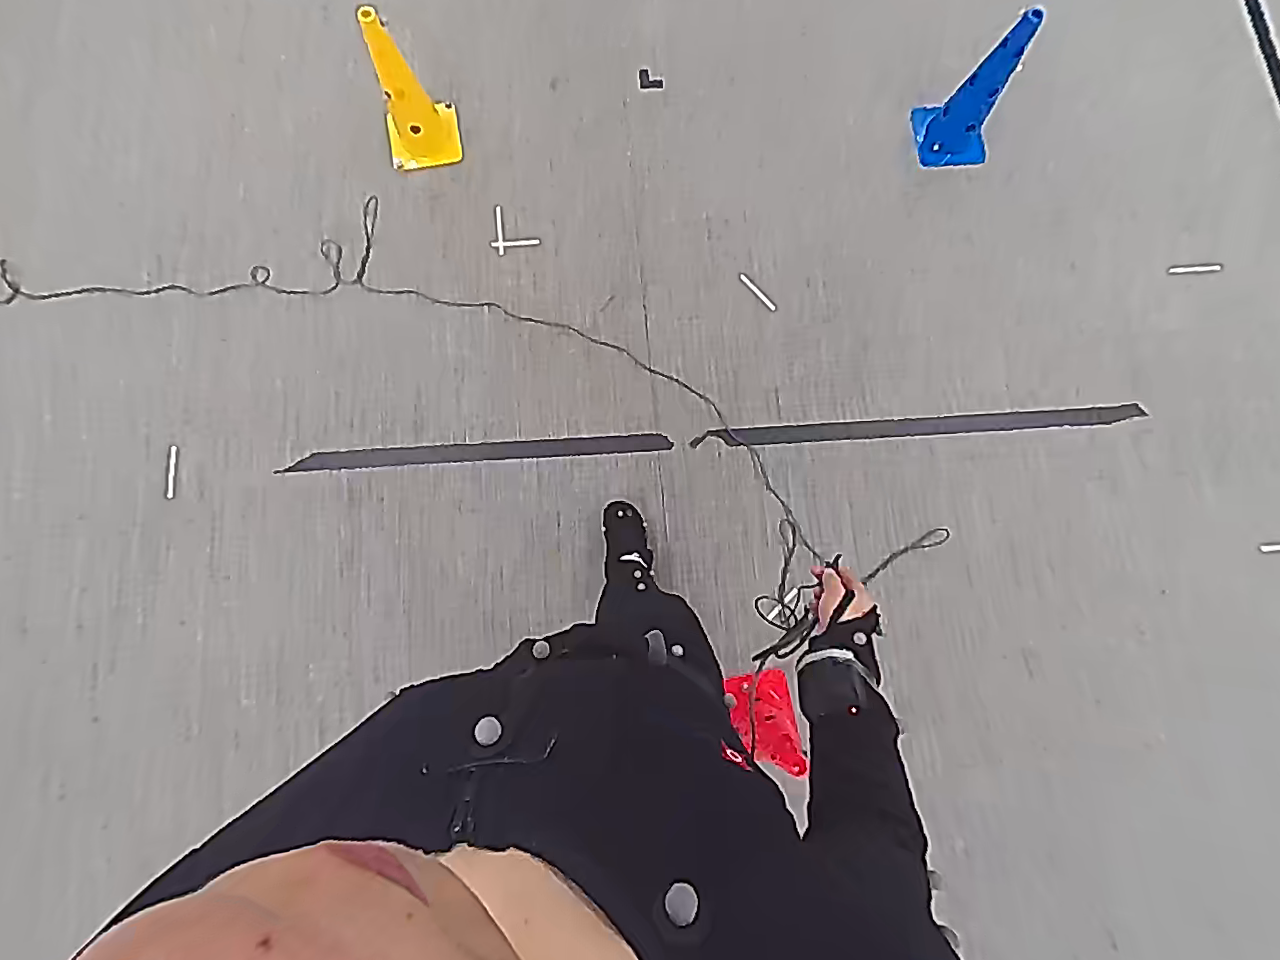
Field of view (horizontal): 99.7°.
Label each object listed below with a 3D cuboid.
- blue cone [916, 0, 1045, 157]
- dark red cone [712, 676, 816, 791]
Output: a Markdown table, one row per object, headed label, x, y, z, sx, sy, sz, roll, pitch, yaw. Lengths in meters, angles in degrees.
| label | x | y | z | sx | sy | sz | roll | pitch | yaw |
| --- | --- | --- | --- | --- | --- | --- | --- | --- | --- |
| blue cone | 0.919 | -1.063 | 1.427 | 0.193 | 0.380 | 0.192 | -3 | 79 | -2 |
| dark red cone | 0.283 | 0.547 | 1.109 | 0.202 | 0.394 | 0.201 | -12 | 79 | -3 |
